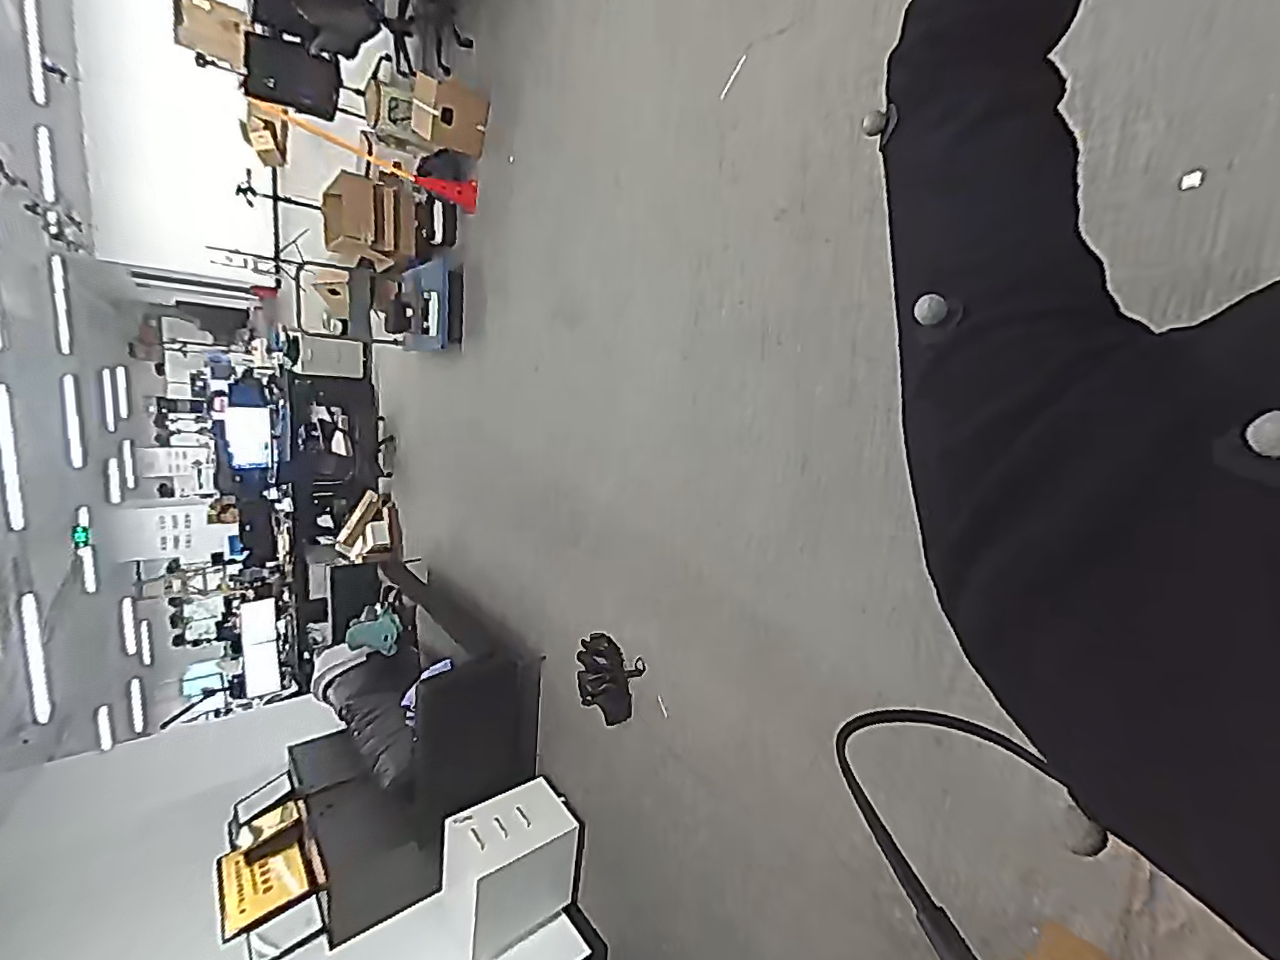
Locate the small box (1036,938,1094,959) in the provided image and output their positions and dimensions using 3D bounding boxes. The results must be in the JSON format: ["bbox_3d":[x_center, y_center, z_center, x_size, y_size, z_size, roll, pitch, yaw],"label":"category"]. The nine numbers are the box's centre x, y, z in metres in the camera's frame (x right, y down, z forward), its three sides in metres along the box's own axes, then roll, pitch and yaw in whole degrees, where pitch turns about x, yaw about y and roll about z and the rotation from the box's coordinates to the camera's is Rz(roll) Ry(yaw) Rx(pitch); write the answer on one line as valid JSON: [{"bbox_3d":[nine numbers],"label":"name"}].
[{"bbox_3d":[0.944,1.148,1.164,0.179,0.176,0.168,18,106,47],"label":"small box"}]
